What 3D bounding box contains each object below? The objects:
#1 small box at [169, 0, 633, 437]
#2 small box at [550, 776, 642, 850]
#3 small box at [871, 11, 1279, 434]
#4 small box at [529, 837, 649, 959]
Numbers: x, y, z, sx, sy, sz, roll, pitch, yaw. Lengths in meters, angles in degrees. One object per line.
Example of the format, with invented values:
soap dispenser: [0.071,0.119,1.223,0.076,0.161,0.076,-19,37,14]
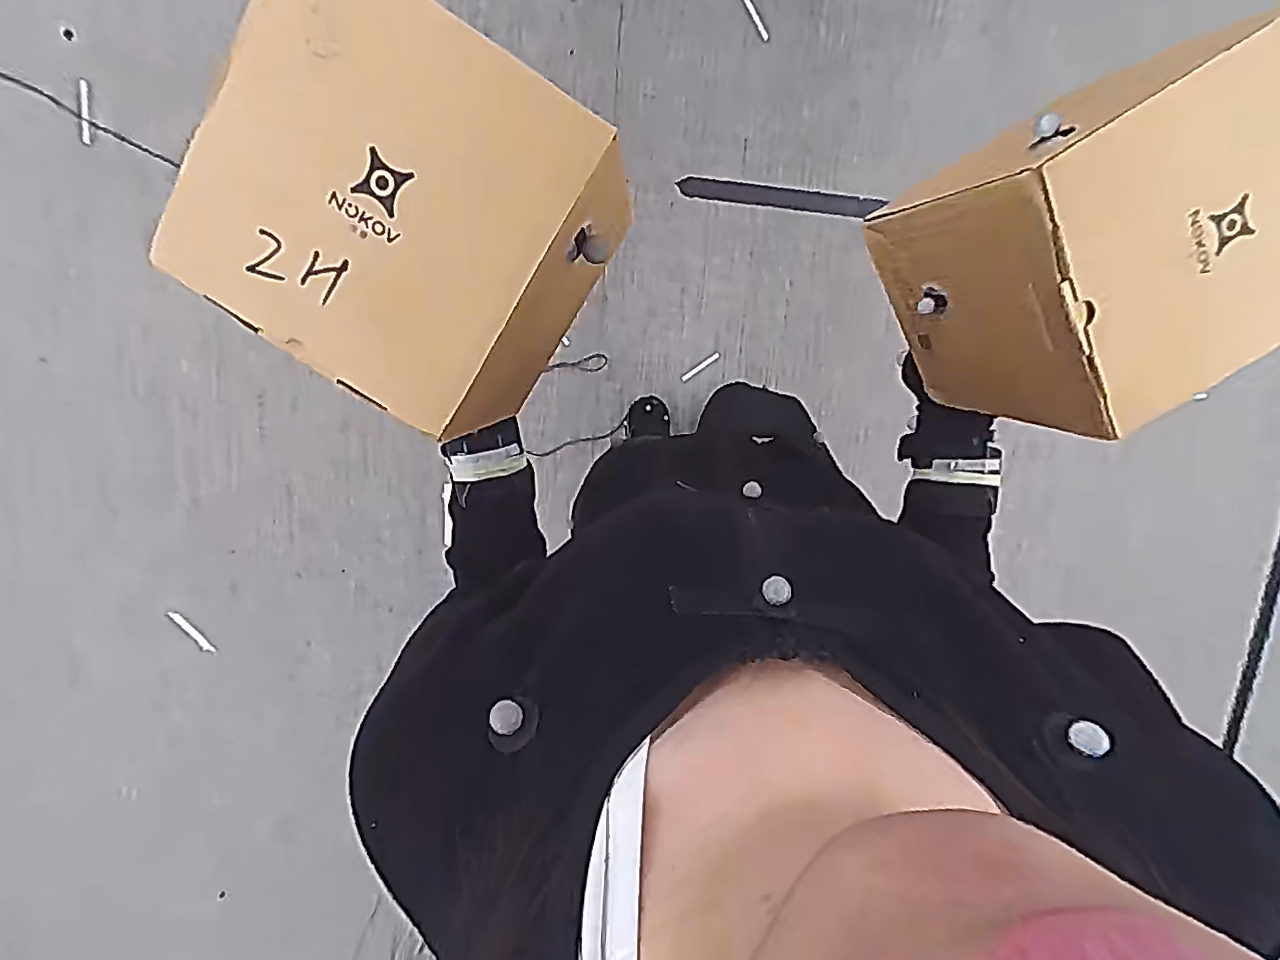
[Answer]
small box: [-0.117,-0.152,0.336,0.168,0.176,0.179,33,102,-5]
small box: [-0.079,0.699,1.045,0.168,0.176,0.179,-3,100,-1]
small box: [0.298,-0.159,0.367,0.179,0.176,0.168,-32,109,3]
small box: [-0.080,0.721,0.883,0.179,0.176,0.168,3,99,-2]
